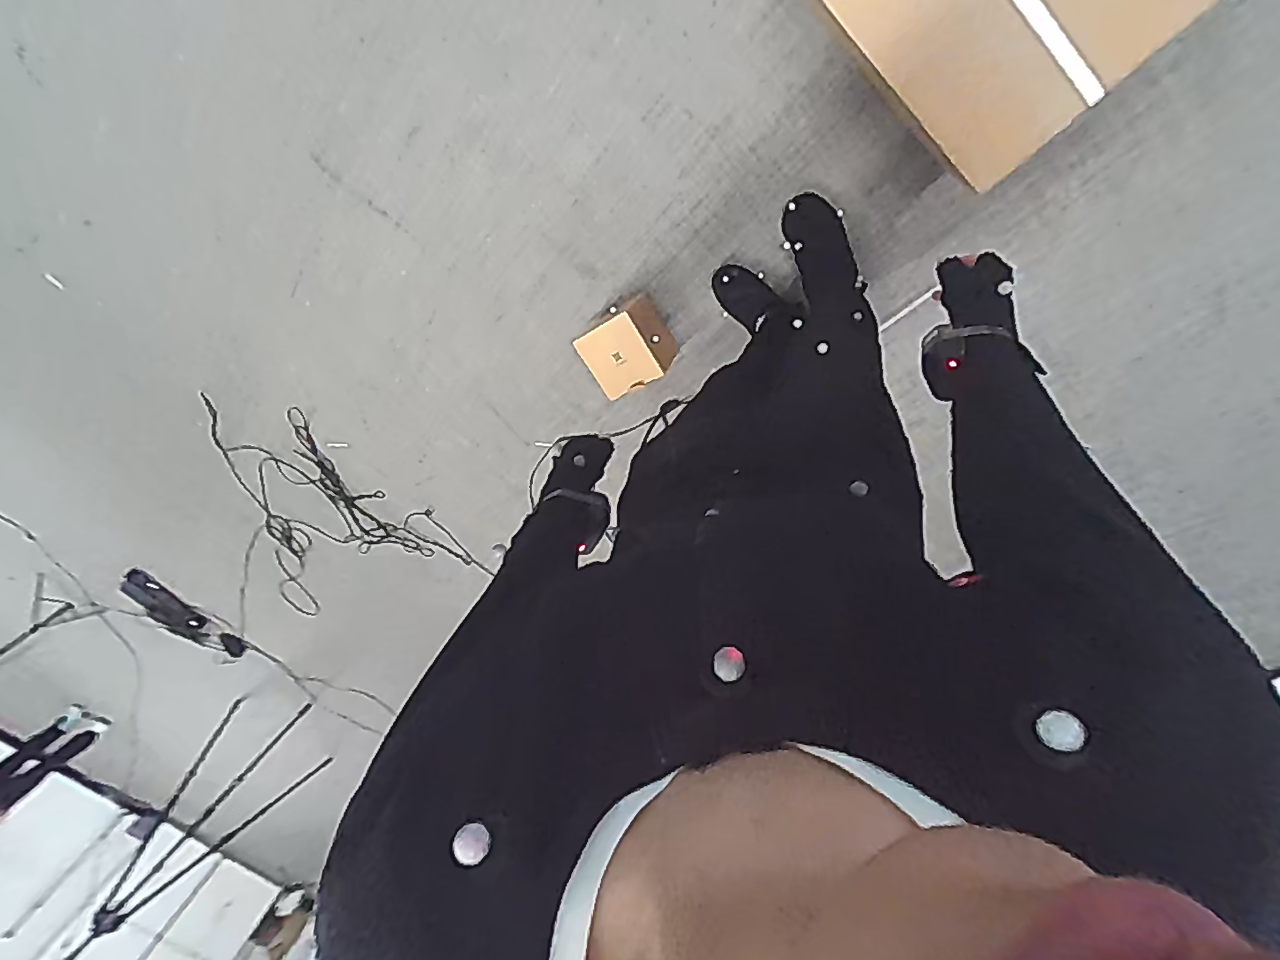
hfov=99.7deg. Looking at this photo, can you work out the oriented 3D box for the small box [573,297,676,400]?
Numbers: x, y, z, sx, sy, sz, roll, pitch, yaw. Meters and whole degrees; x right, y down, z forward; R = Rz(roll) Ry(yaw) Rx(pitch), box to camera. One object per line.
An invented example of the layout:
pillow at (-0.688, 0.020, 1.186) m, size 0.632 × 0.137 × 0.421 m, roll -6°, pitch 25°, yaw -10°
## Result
small box at (-0.032, -0.336, 1.351) m, size 0.168 × 0.176 × 0.179 m, roll -22°, pitch 115°, yaw 31°
